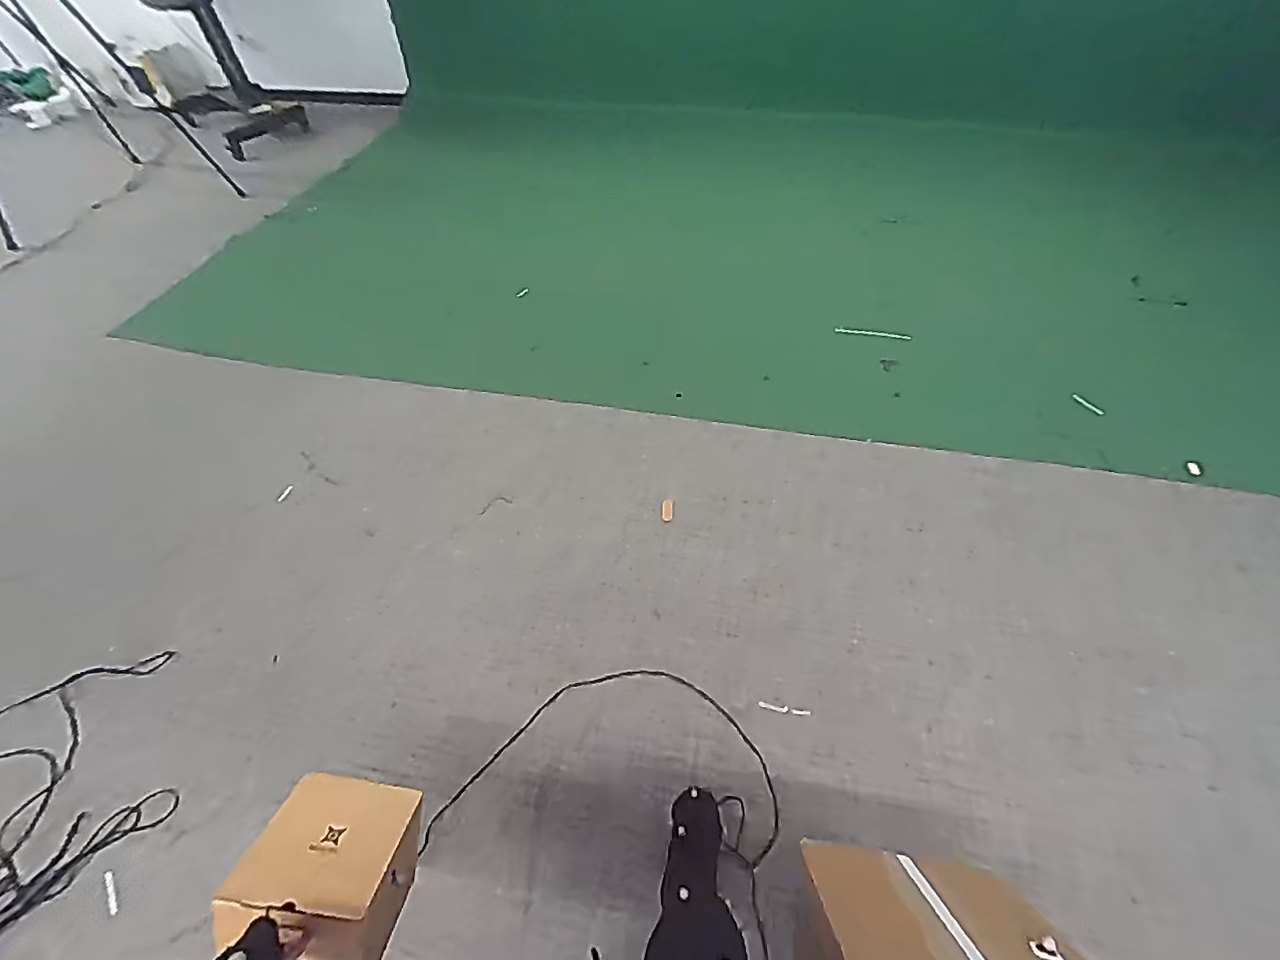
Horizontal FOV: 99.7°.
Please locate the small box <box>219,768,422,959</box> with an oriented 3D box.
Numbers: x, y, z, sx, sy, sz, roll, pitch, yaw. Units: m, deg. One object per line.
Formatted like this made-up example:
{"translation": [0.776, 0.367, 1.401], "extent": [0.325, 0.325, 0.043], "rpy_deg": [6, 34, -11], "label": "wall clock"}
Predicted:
{"translation": [-0.406, 0.522, 0.705], "extent": [0.168, 0.176, 0.179], "rpy_deg": [11, 17, -3], "label": "small box"}
